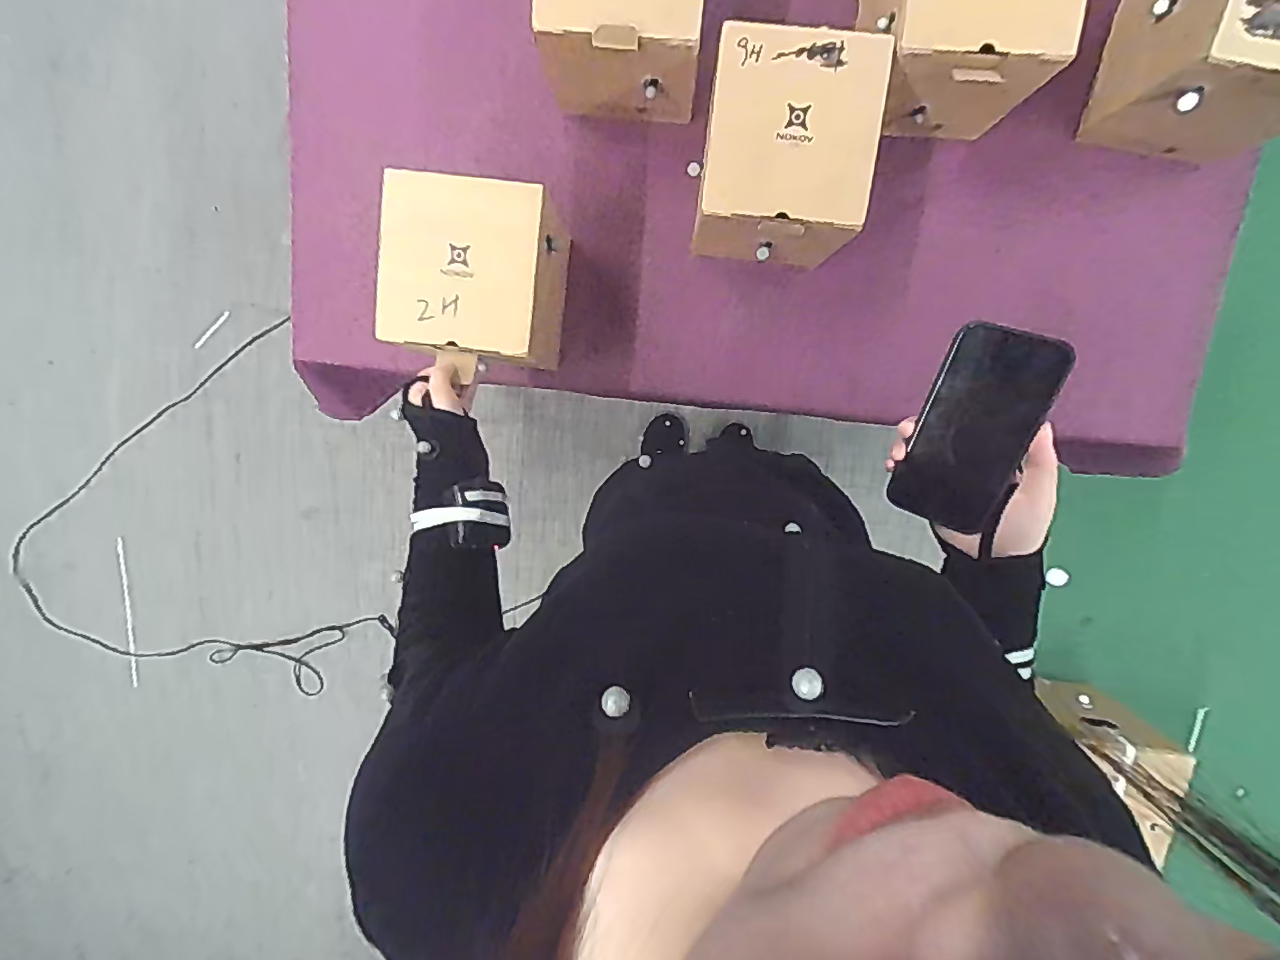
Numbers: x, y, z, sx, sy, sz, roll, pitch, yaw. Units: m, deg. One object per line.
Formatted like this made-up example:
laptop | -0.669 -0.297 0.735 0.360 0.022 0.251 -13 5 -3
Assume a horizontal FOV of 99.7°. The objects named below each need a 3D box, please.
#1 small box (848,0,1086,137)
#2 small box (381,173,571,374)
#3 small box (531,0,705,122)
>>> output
small box | 0.335 -0.499 0.573 0.168 0.176 0.179 4 101 2
small box | -0.180 -0.228 0.641 0.168 0.176 0.179 7 97 2
small box | -0.013 -0.523 0.587 0.168 0.176 0.179 6 100 1
